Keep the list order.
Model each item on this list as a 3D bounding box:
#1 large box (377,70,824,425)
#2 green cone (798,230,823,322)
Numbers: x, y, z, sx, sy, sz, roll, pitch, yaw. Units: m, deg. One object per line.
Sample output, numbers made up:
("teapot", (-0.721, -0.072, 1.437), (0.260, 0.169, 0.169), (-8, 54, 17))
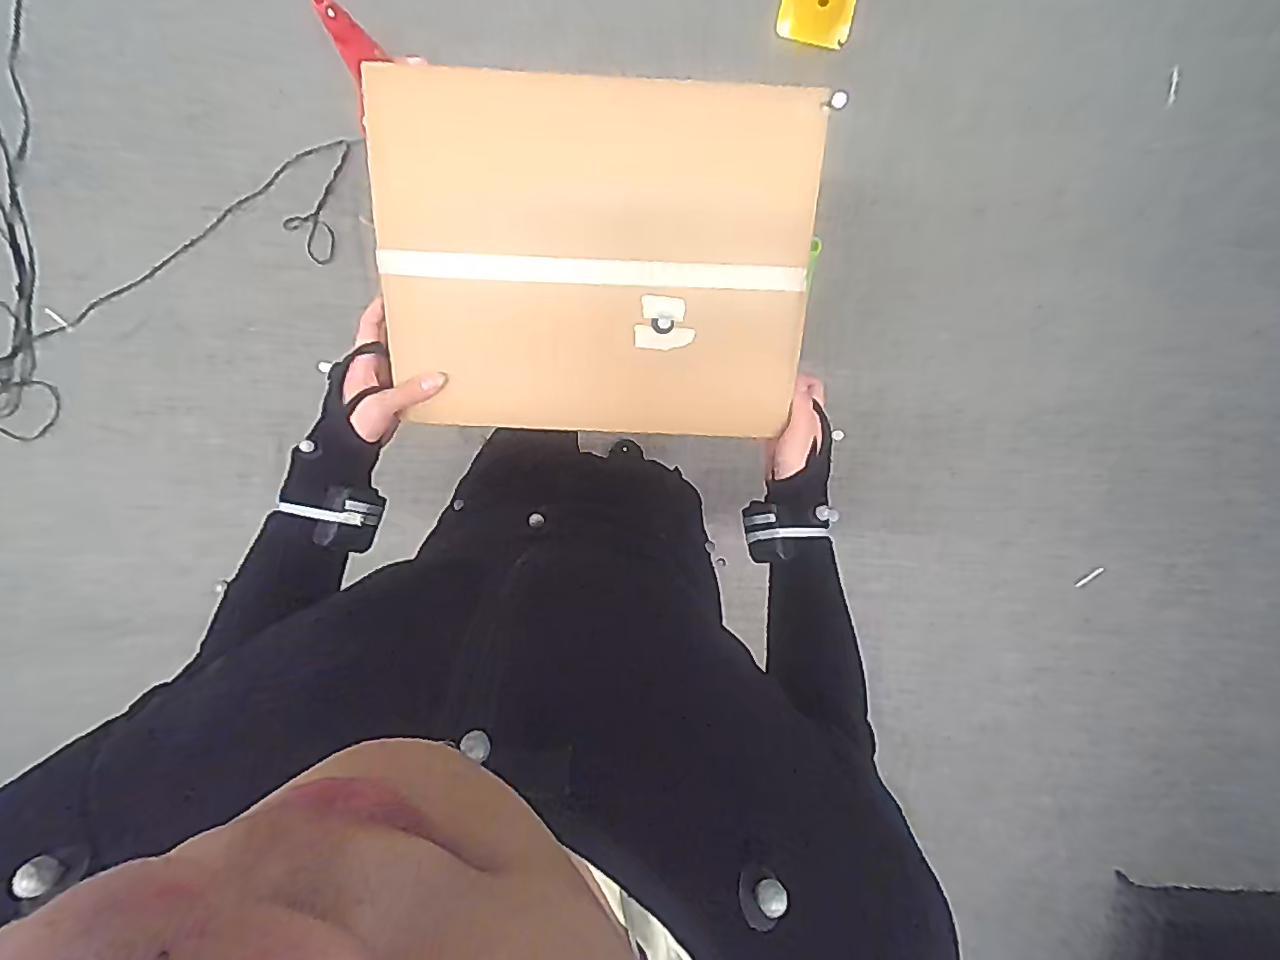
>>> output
("large box", (-0.042, -0.252, 0.662), (0.408, 0.320, 0.320), (2, 109, -2))
("green cone", (0.393, -0.549, 1.388), (0.200, 0.368, 0.202), (9, 95, -1))
